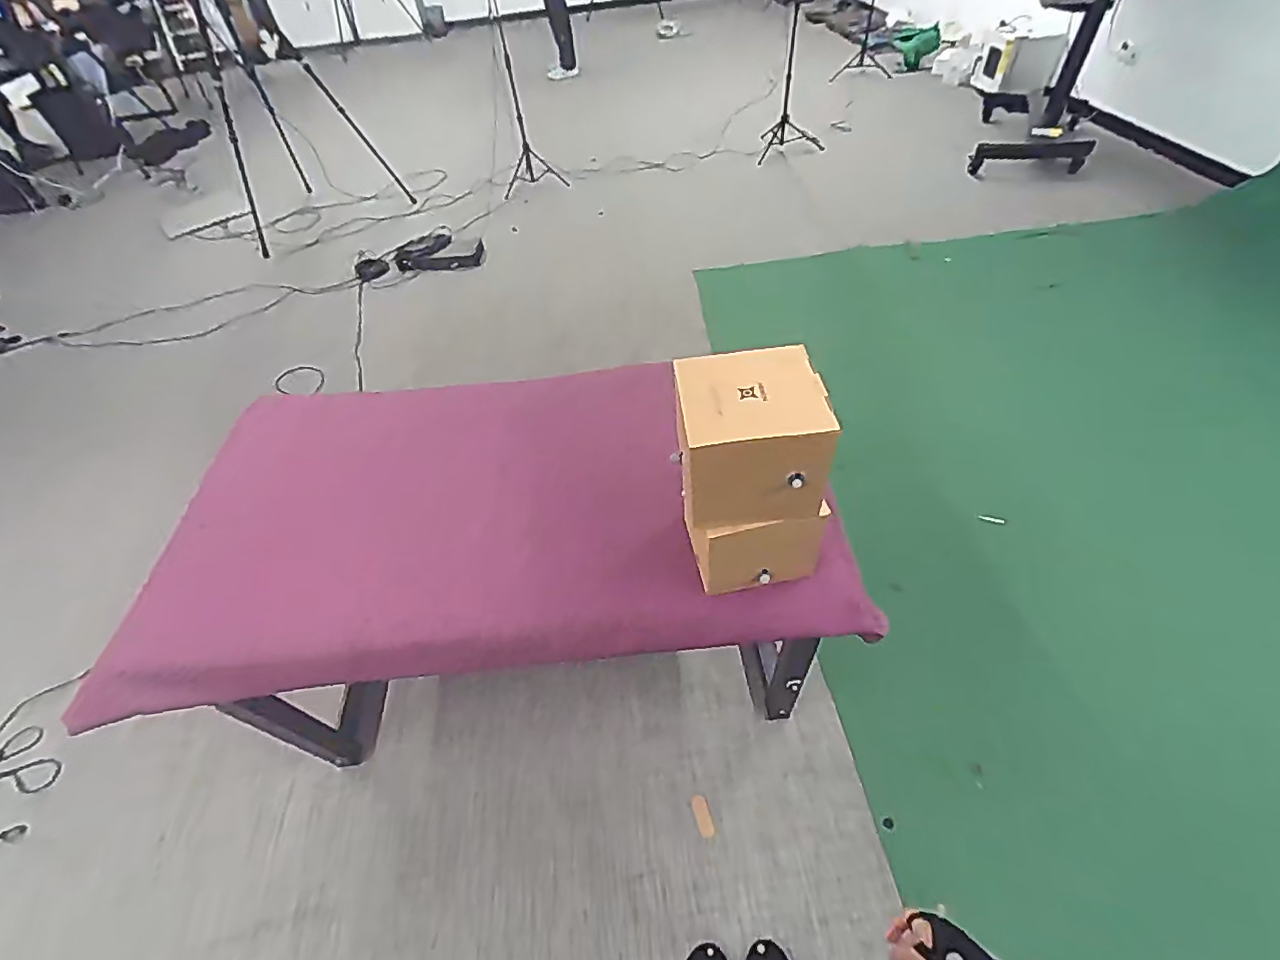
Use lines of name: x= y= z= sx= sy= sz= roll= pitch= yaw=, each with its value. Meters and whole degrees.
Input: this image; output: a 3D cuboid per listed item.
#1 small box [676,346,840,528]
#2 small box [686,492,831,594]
small box: x=0.143 y=-0.053 z=0.722 sx=0.179 sy=0.176 sz=0.168 roll=-6 pitch=49 yaw=2
small box: x=0.170 y=0.057 z=0.840 sx=0.179 sy=0.176 sz=0.168 roll=-10 pitch=49 yaw=-2
